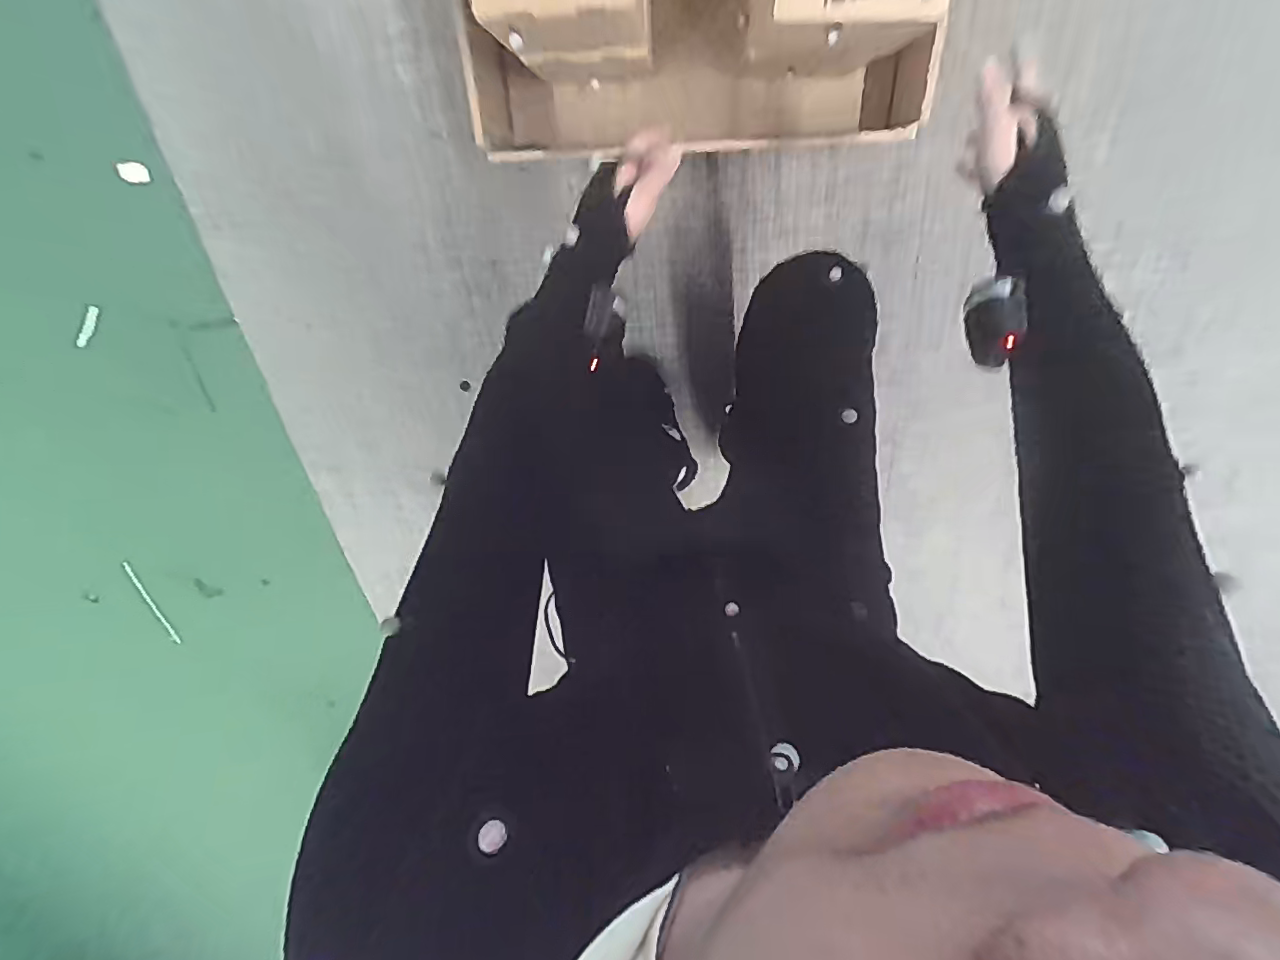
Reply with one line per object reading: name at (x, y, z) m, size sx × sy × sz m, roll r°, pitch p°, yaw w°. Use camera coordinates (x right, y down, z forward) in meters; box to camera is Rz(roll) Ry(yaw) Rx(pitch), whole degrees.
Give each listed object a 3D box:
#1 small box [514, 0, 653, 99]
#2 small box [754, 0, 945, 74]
small box at (-0.069, -0.636, 0.727) m, size 0.168 × 0.176 × 0.179 m, roll 1°, pitch 117°, yaw 5°
small box at (0.215, -0.550, 0.563) m, size 0.168 × 0.176 × 0.179 m, roll 3°, pitch 117°, yaw 4°
